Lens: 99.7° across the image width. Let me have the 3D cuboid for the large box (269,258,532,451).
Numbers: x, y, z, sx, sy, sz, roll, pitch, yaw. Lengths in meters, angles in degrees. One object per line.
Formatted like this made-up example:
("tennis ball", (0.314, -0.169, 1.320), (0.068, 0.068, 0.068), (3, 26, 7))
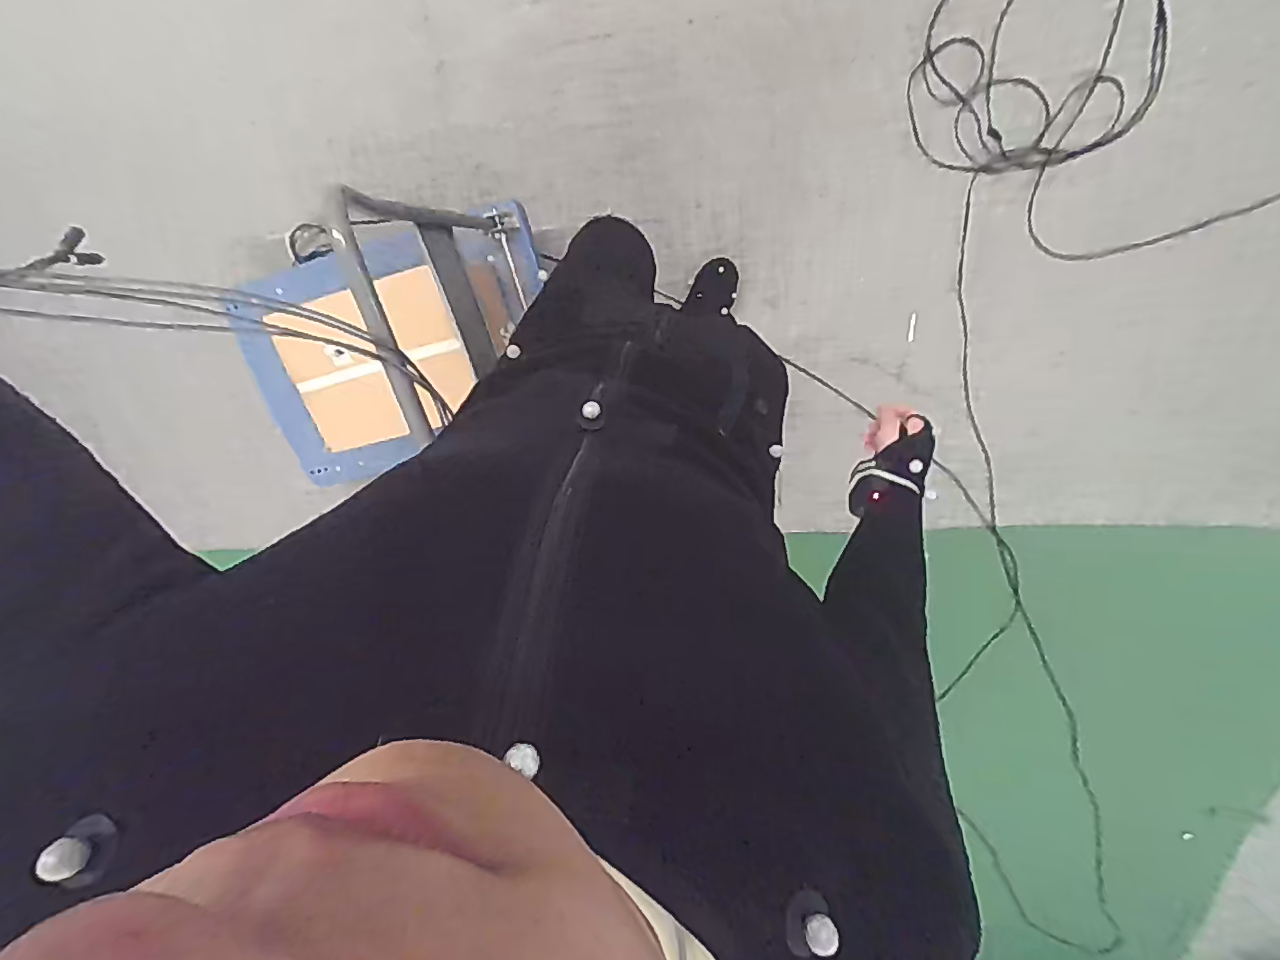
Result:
("large box", (-0.523, -0.301, 1.263), (0.408, 0.320, 0.320), (-11, 111, 13))
